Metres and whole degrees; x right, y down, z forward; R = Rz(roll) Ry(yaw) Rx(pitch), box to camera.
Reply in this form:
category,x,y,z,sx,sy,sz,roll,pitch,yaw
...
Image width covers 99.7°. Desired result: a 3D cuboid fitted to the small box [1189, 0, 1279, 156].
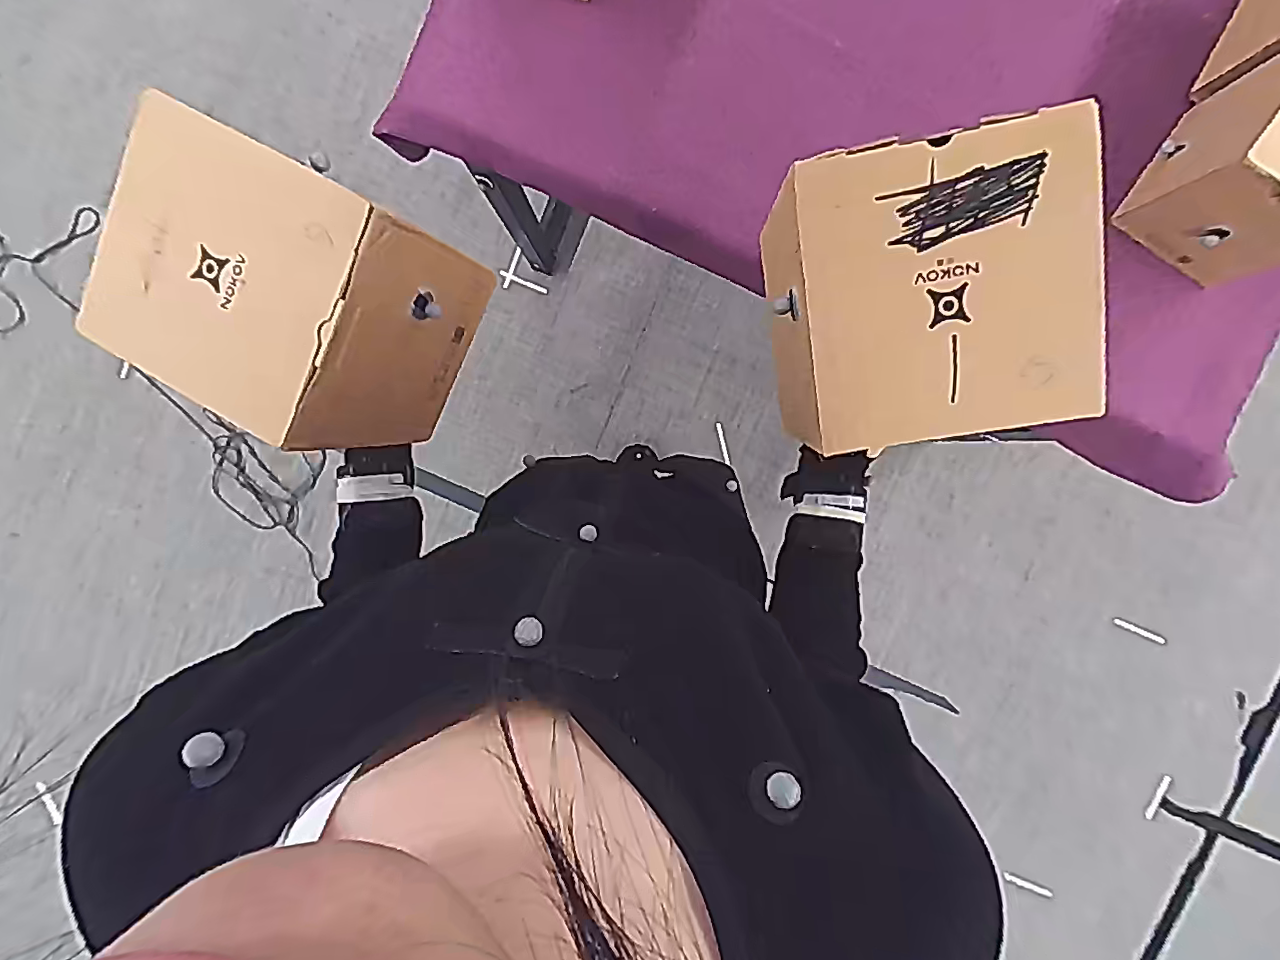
category,x,y,z,sx,sy,sz,roll,pitch,yaw
small box,0.828,-0.537,0.637,0.168,0.176,0.179,27,93,-3

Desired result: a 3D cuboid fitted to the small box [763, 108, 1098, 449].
category,x,y,z,sx,sy,sz,roll,pitch,yaw
small box,0.191,-0.128,0.402,0.168,0.176,0.179,-8,100,7

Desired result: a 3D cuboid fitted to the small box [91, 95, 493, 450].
category,x,y,z,sx,sy,sz,roll,pitch,yaw
small box,-0.244,-0.139,0.419,0.179,0.176,0.168,28,100,7
